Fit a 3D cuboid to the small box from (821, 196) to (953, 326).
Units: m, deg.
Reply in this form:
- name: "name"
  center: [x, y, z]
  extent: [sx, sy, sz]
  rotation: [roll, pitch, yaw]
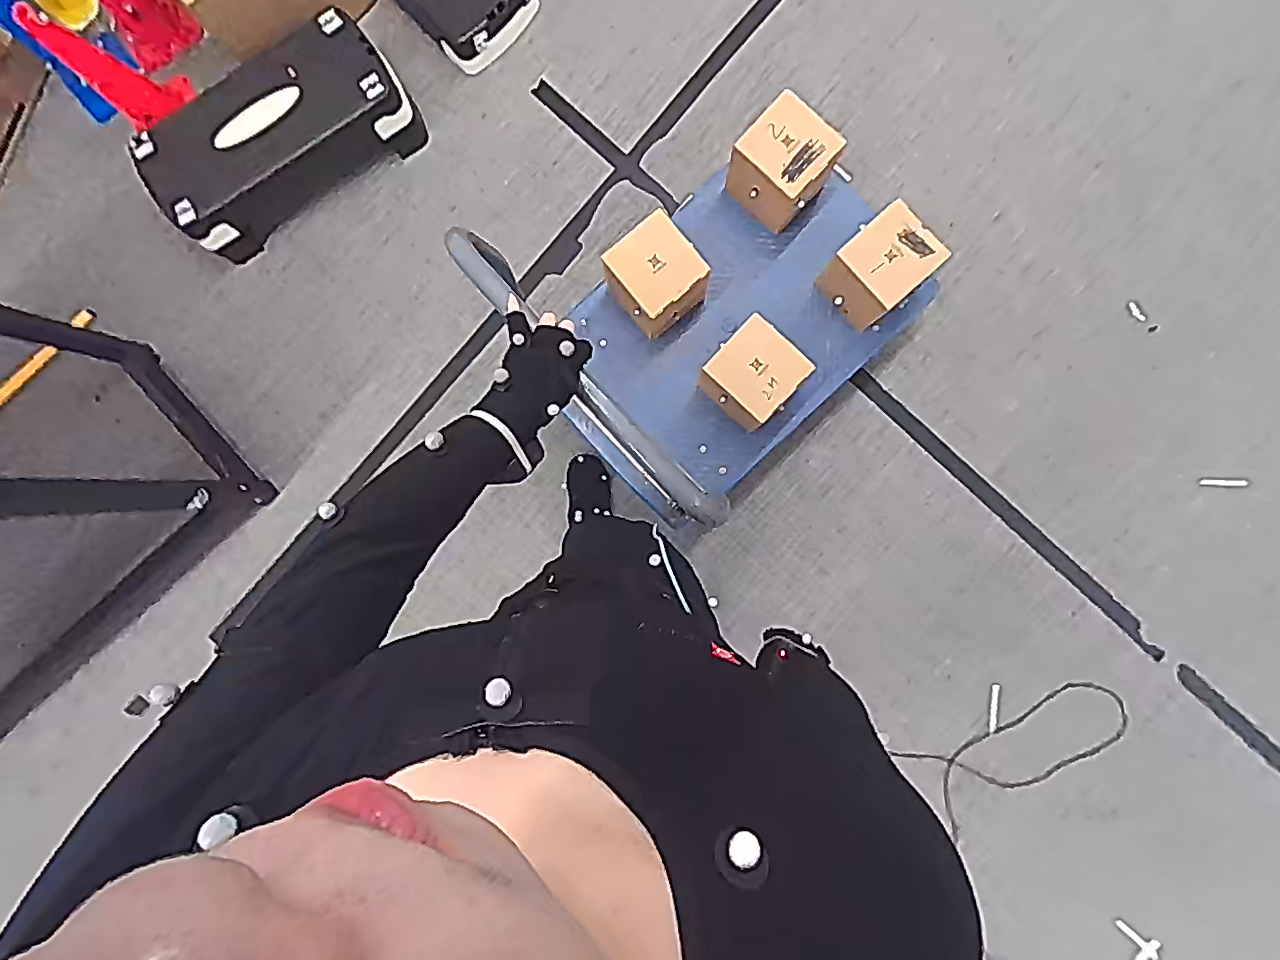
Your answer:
- name: "small box"
  center: [0.535, -0.475, 1.198]
  extent: [0.179, 0.176, 0.168]
  rotation: [-41, 88, 3]

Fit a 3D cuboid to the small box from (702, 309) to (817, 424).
- name: "small box"
  center: [0.254, -0.241, 1.206]
  extent: [0.179, 0.176, 0.168]
  rotation: [44, 91, 2]

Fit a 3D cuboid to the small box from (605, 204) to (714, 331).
- name: "small box"
  center: [0.041, -0.465, 1.215]
  extent: [0.168, 0.176, 0.179]
  rotation: [-39, 90, 1]
